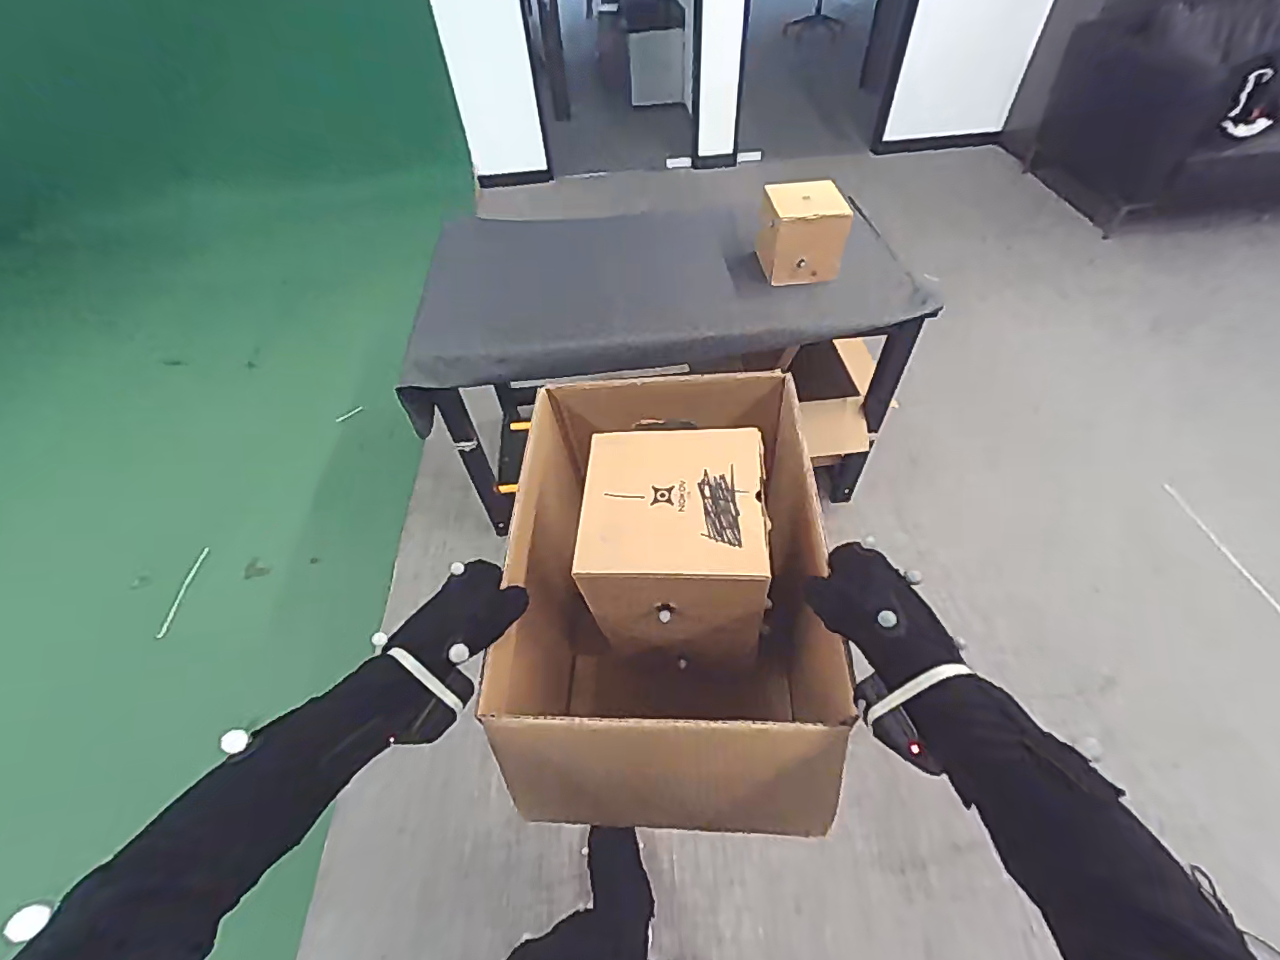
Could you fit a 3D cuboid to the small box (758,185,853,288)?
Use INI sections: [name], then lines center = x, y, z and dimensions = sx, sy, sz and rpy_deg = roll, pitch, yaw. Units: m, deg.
[small box]
center = 0.391, -0.589, 1.312
dimensions = 0.168, 0.176, 0.179
rpy_deg = -5, 51, 0
